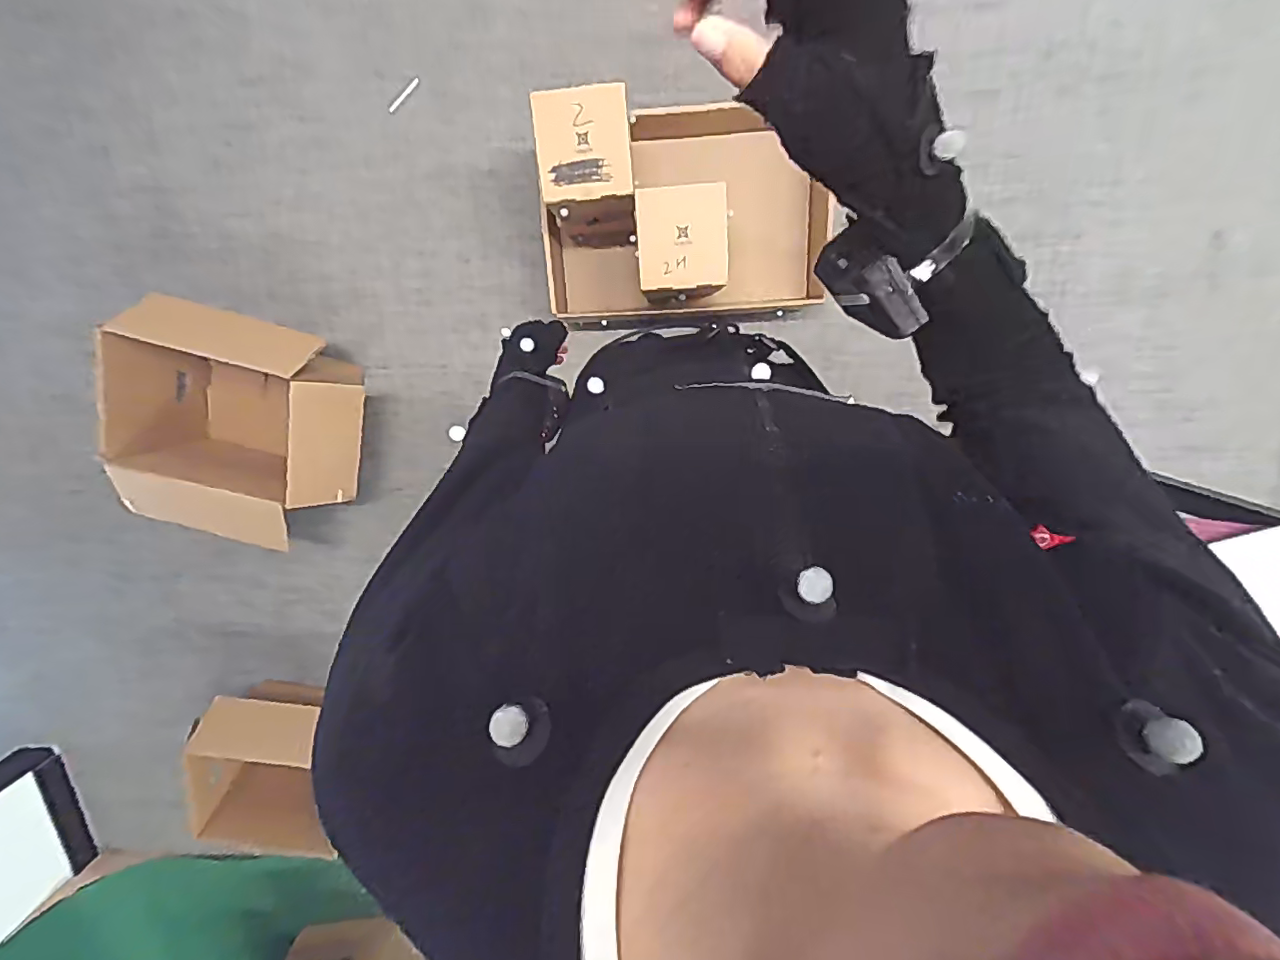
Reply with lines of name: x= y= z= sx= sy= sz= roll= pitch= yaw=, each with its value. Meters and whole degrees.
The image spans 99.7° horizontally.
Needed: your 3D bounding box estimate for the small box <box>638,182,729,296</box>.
small box: x=0.080 y=-0.459 z=1.054 sx=0.168 sy=0.176 sz=0.179 roll=-3 pitch=106 yaw=2
